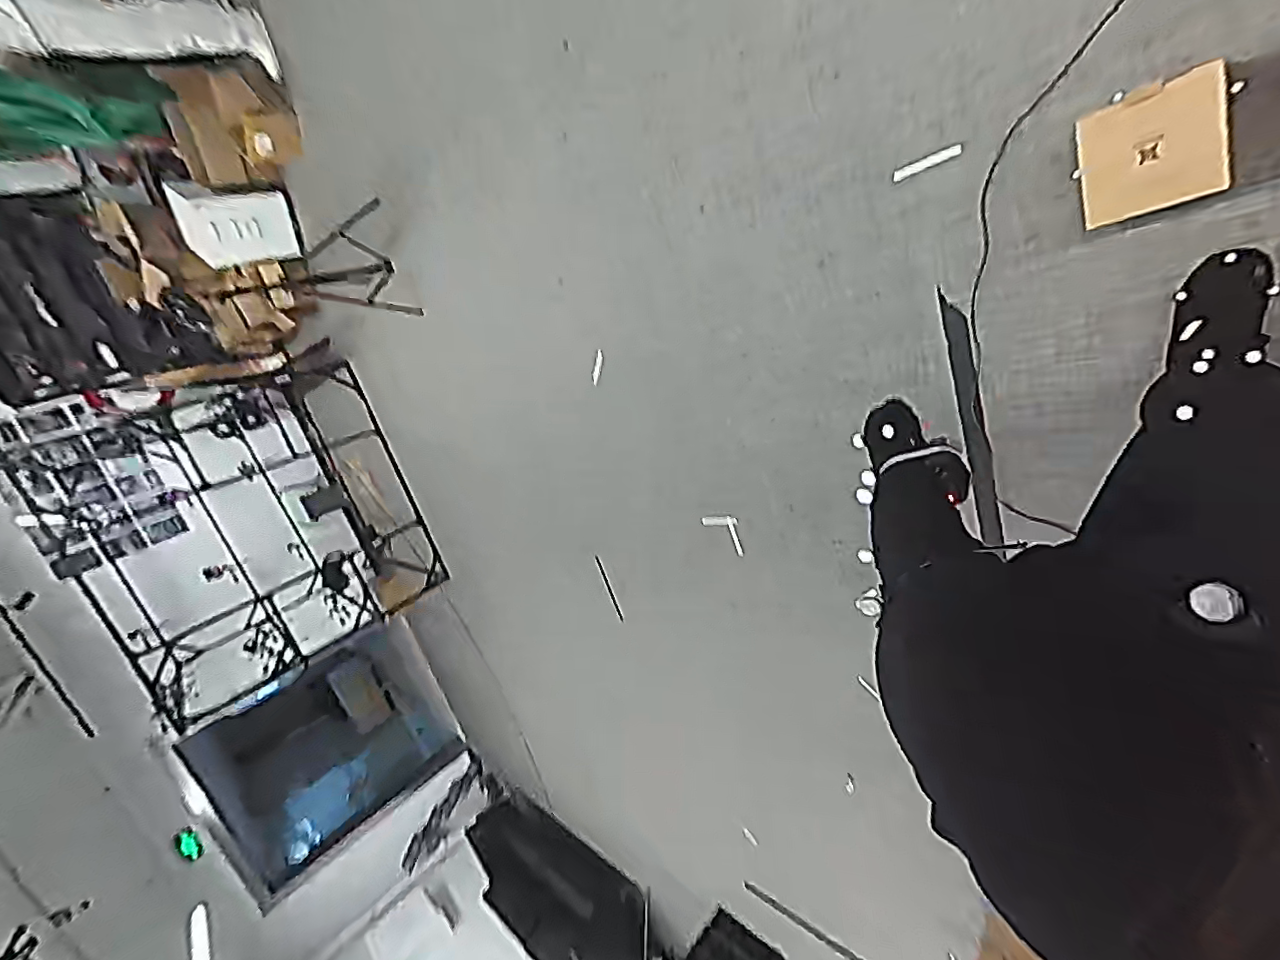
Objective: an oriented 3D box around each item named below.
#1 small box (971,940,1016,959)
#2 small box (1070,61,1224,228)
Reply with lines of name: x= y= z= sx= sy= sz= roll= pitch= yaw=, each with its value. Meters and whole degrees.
small box: x=0.961 y=1.382 z=1.416 sx=0.168 sy=0.176 sz=0.179 roll=2 pitch=115 yaw=49
small box: x=0.826 y=-0.536 z=0.880 sx=0.168 sy=0.176 sz=0.179 roll=-1 pitch=114 yaw=50
